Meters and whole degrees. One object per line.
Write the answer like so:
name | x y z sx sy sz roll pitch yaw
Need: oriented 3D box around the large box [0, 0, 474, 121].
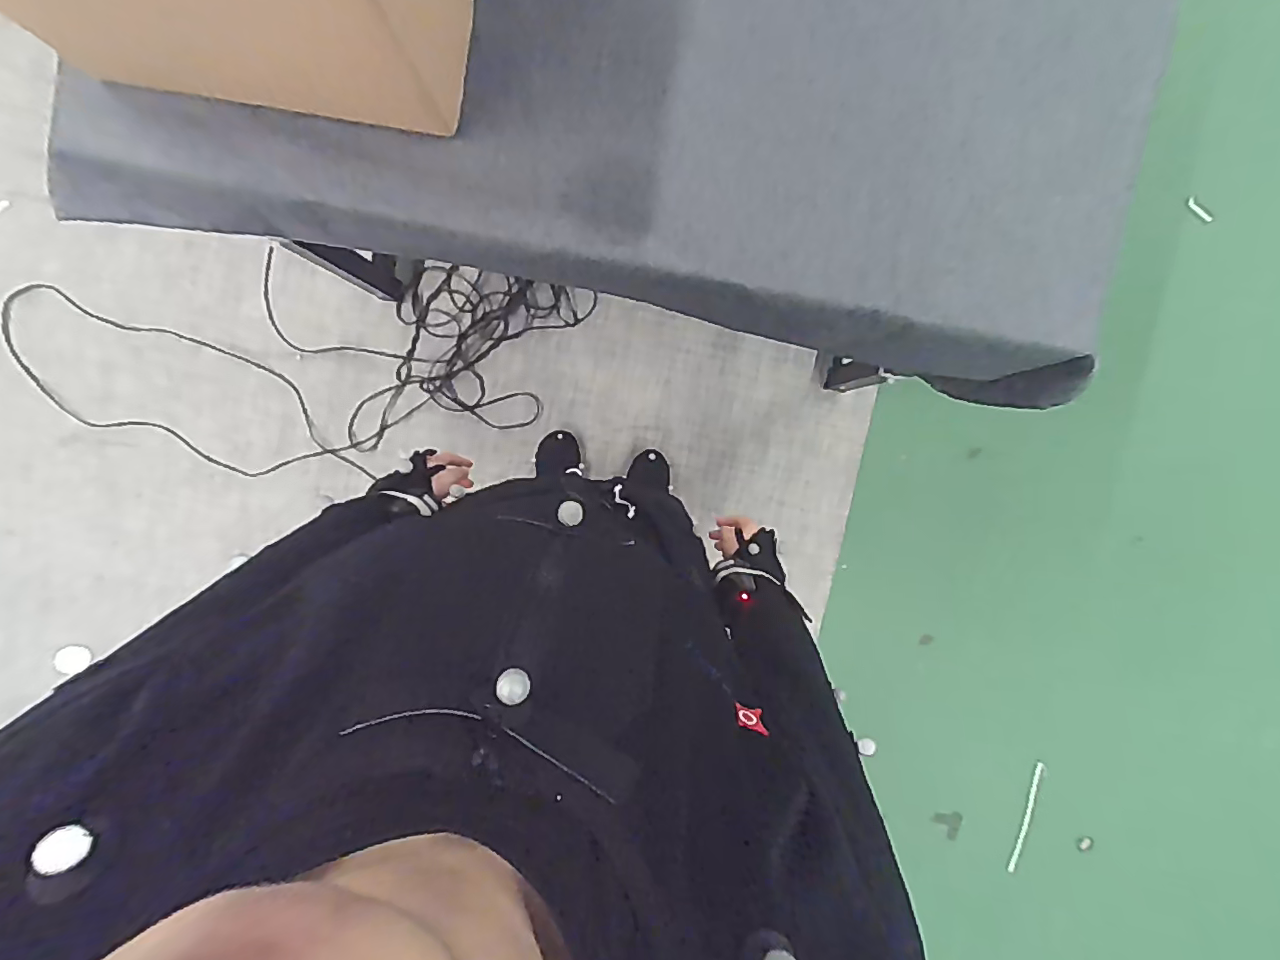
large box | -0.369 -0.557 0.435 0.408 0.320 0.320 8 94 -3
